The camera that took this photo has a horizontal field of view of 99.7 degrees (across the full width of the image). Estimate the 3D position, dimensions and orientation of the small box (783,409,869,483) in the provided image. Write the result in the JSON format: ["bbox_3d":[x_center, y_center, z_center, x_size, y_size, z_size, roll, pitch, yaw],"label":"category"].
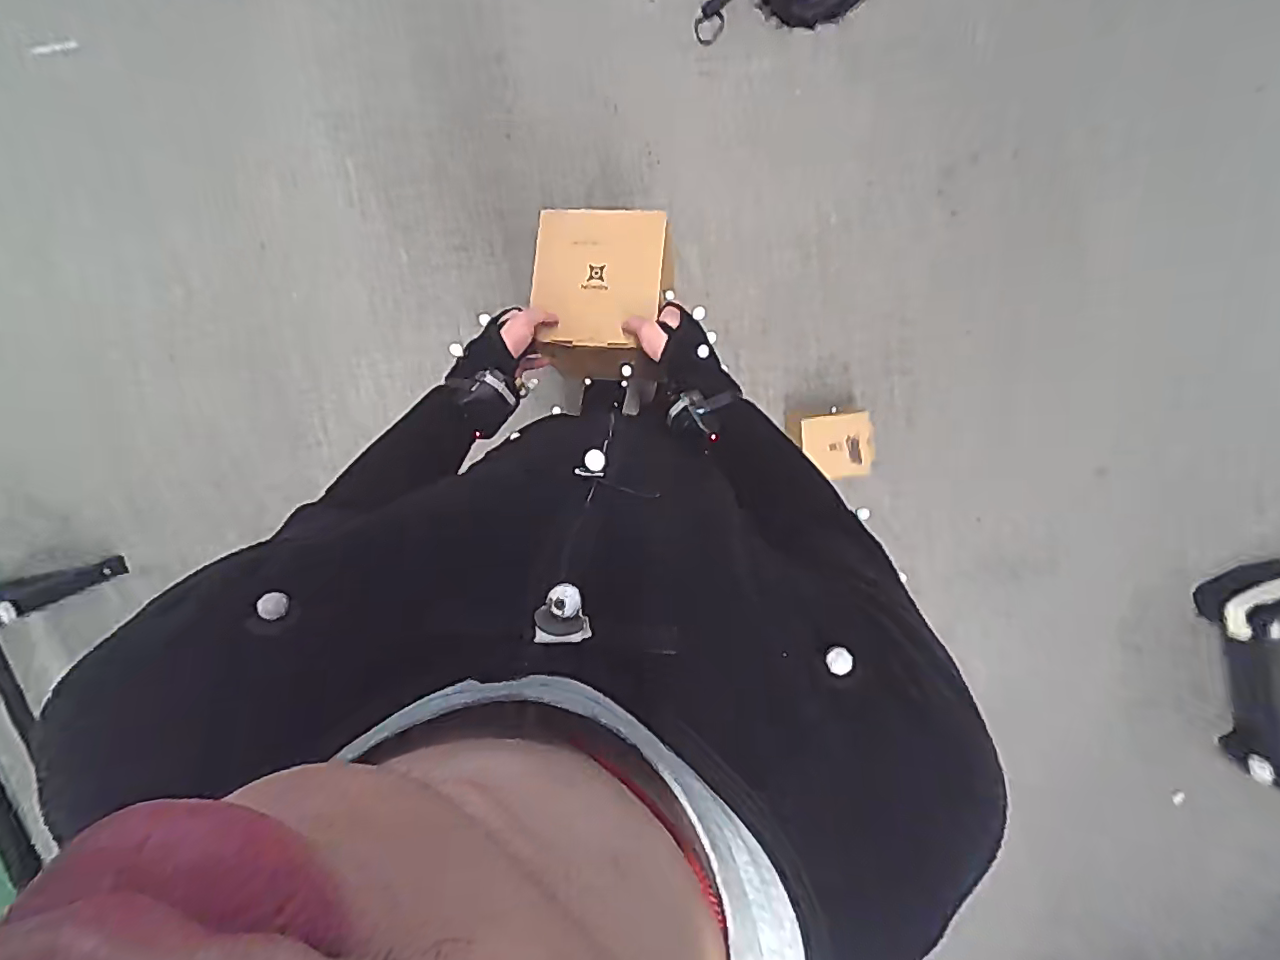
[{"bbox_3d":[0.499,-0.097,1.464,0.179,0.176,0.168,-6,102,1],"label":"small box"}]

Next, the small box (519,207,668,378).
[{"bbox_3d":[-0.054,-0.249,0.751,0.168,0.176,0.179,5,84,8],"label":"small box"}]
